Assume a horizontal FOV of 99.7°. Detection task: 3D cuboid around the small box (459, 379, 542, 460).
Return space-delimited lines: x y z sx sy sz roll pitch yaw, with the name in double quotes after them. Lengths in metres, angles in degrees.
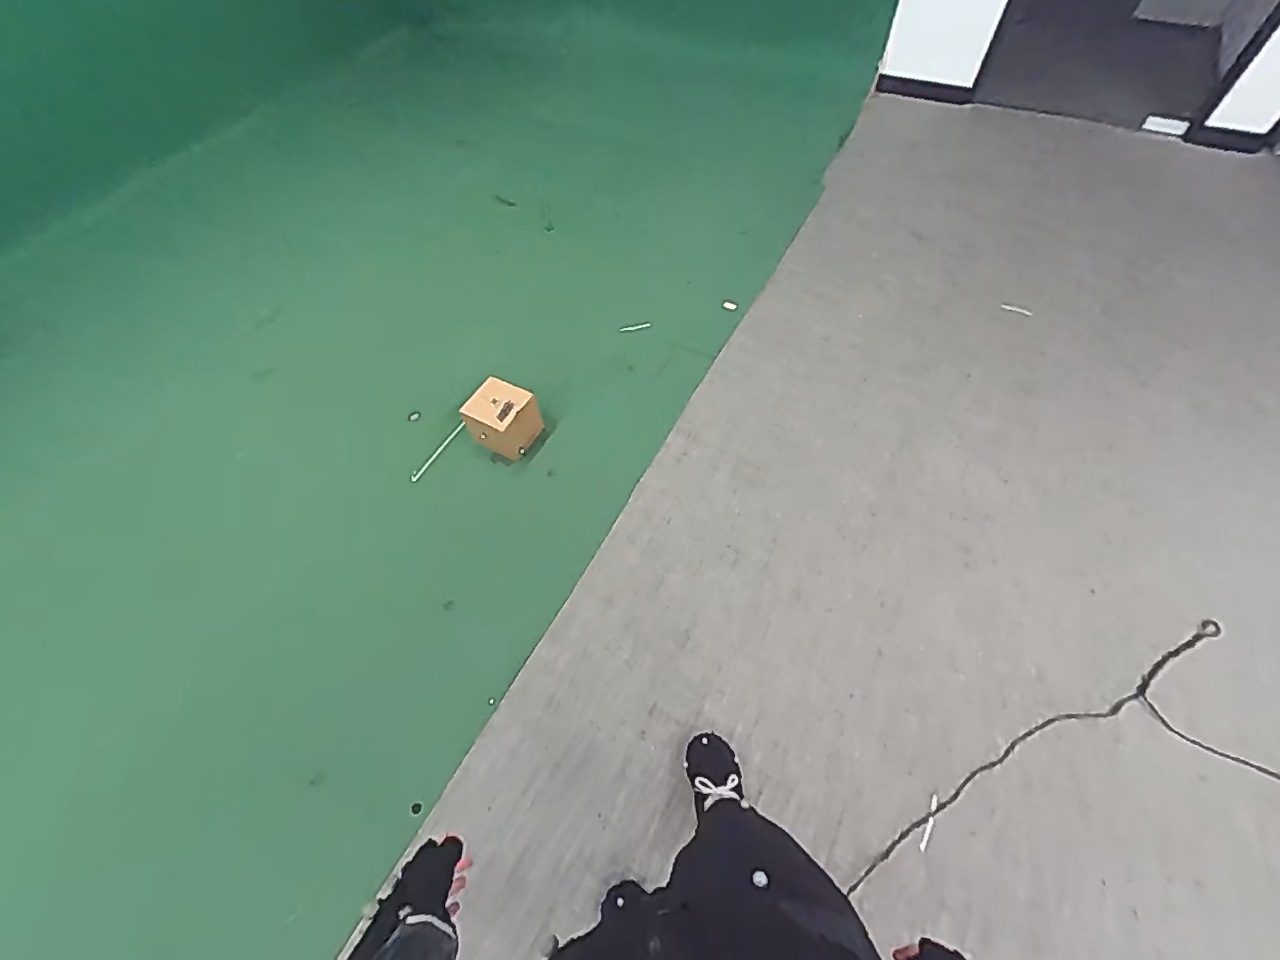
-0.441 -0.189 1.743 0.179 0.176 0.168 24 63 18 "small box"
